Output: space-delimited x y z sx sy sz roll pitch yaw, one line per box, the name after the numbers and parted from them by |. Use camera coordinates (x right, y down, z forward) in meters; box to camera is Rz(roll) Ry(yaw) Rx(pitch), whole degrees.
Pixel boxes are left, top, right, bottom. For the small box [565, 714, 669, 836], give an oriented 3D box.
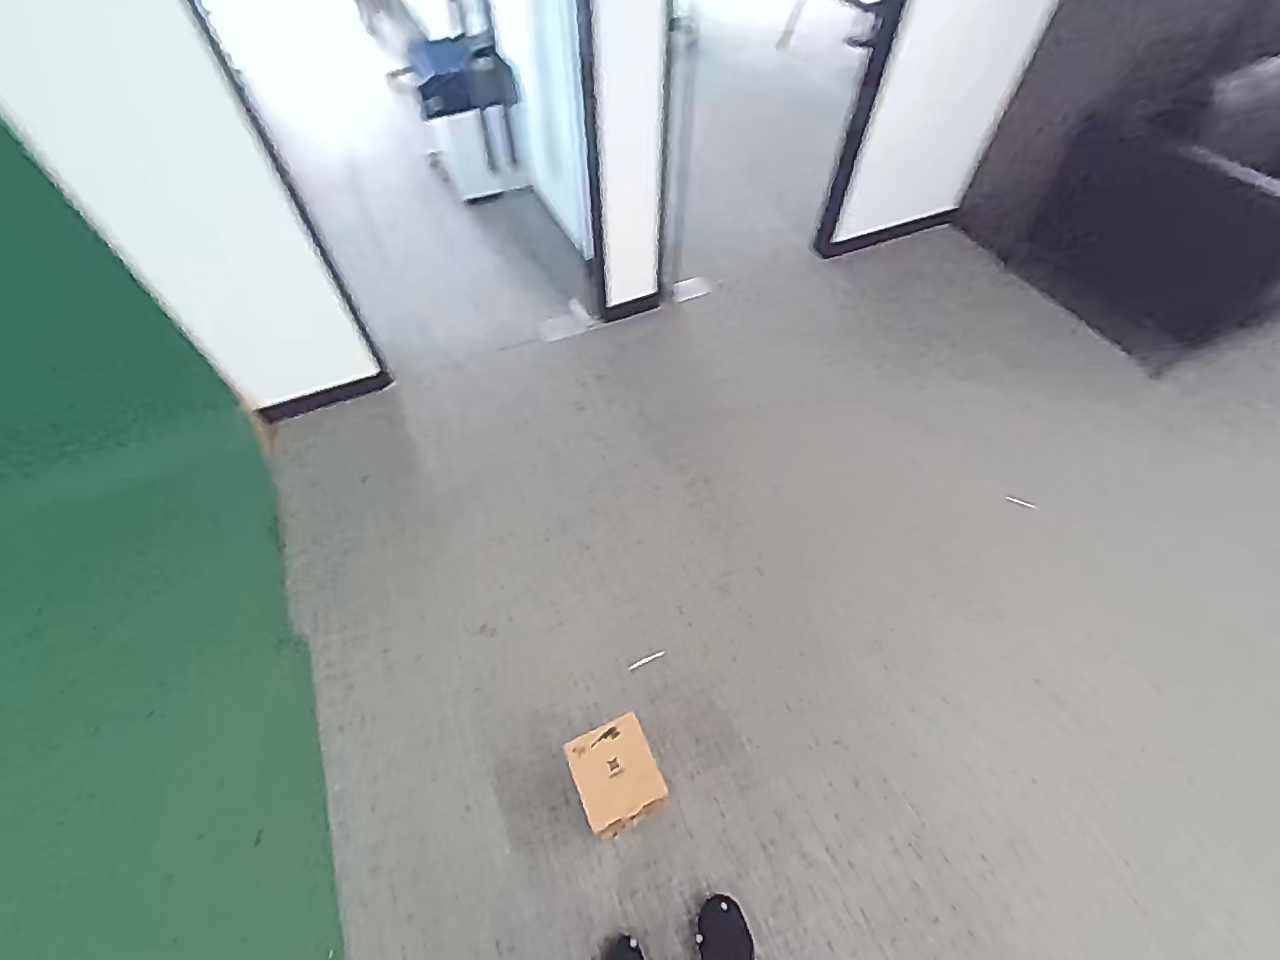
-0.049 0.642 1.173 0.168 0.176 0.179 -21 58 -15 | small box
